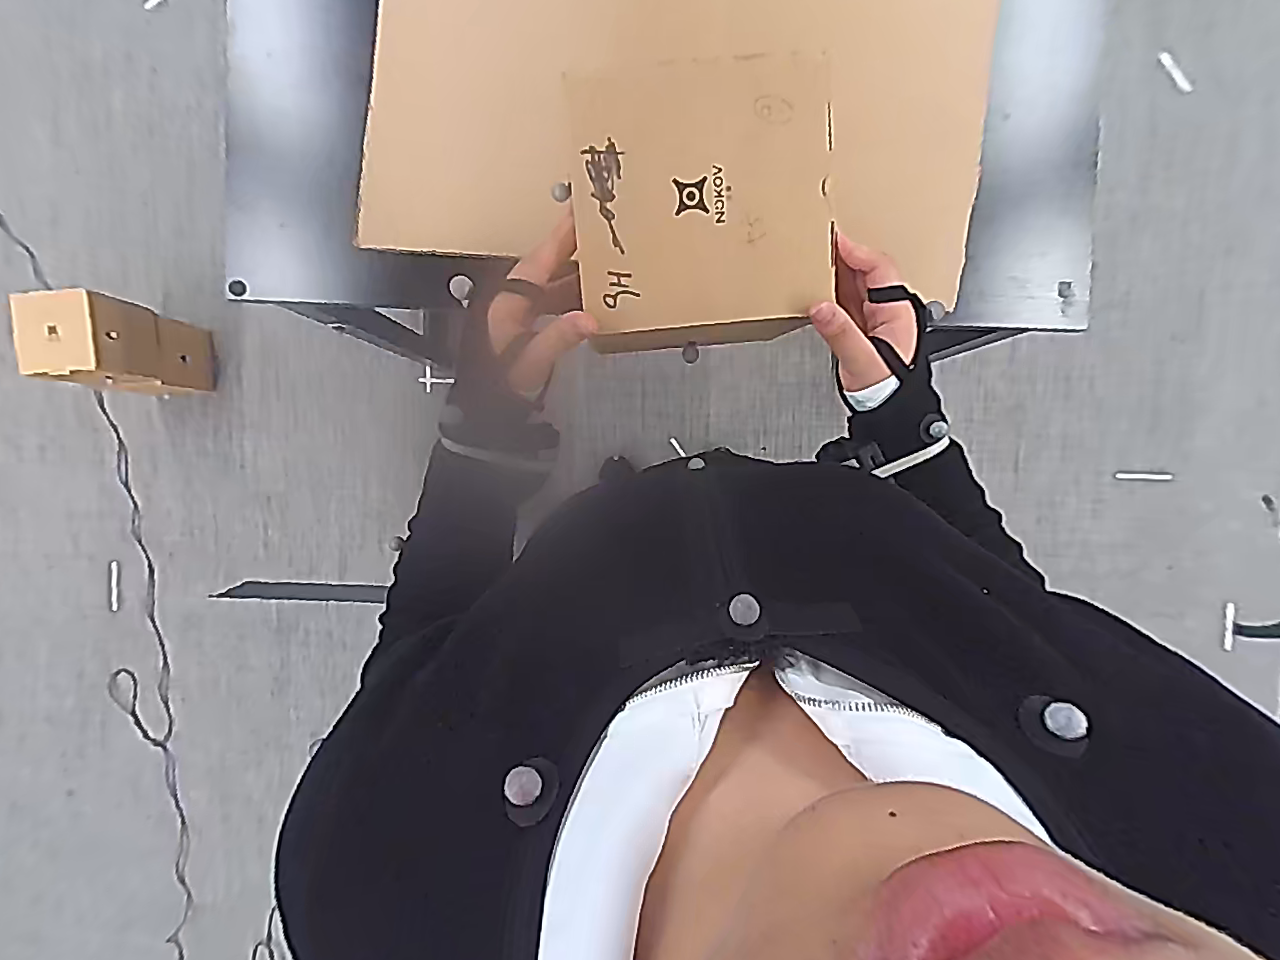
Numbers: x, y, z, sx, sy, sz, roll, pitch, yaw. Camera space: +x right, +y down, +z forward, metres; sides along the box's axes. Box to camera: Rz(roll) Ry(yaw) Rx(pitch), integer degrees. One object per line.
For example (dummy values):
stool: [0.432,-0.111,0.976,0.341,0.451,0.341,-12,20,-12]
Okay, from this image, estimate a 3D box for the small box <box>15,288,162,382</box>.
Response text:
small box: [-1.247,-0.322,1.237,0.168,0.176,0.179,-5,92,-1]

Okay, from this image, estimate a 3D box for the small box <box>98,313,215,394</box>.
small box: [-1.248,-0.322,1.400,0.168,0.176,0.179,-2,93,0]
